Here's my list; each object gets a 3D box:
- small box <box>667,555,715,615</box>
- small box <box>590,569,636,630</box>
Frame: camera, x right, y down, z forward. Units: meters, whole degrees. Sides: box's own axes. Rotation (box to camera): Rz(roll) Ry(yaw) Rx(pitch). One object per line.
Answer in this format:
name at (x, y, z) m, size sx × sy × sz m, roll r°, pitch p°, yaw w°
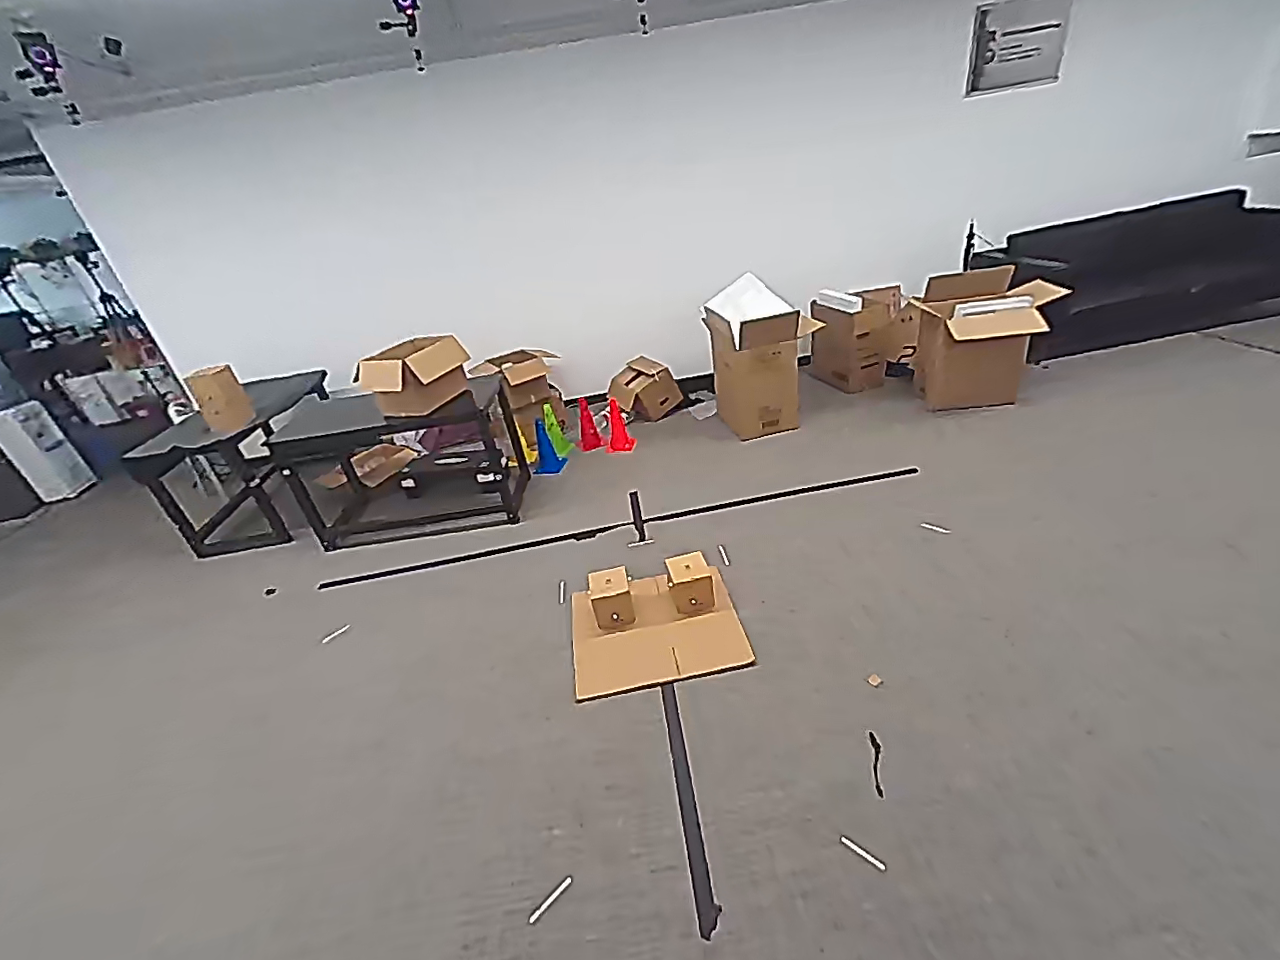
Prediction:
small box at (0.221, 0.460, 2.366) m, size 0.168 × 0.176 × 0.179 m, roll -13°, pitch 29°, yaw -6°
small box at (-0.118, 0.519, 2.350) m, size 0.168 × 0.176 × 0.179 m, roll -12°, pitch 29°, yaw -2°
